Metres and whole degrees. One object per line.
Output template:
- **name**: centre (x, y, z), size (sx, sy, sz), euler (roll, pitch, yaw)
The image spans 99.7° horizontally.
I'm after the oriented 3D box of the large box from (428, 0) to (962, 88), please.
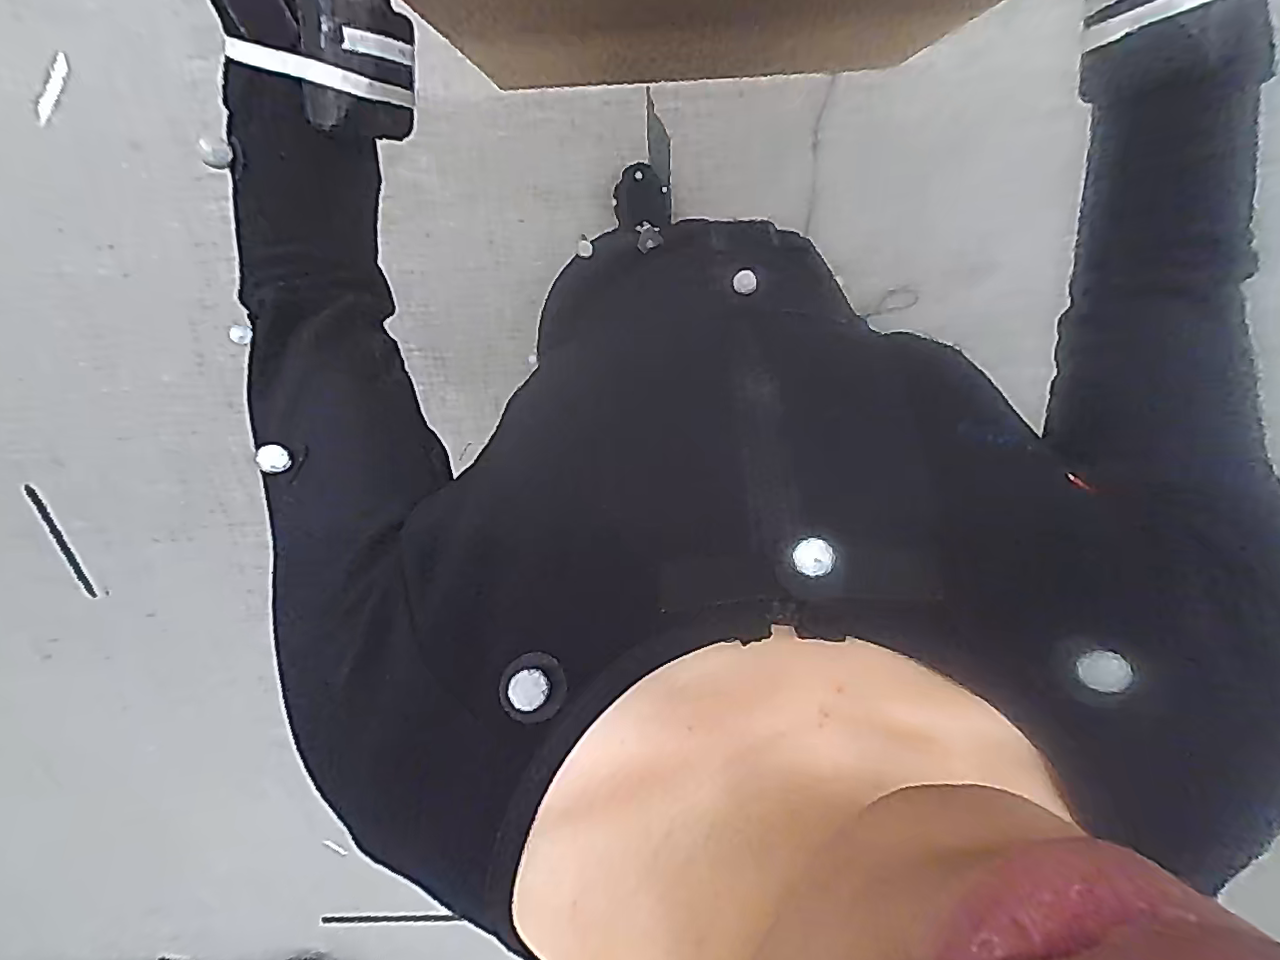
- **large box**: centre (0.045, -0.489, 0.351), size (0.408, 0.320, 0.320), euler (-3, 115, 1)
